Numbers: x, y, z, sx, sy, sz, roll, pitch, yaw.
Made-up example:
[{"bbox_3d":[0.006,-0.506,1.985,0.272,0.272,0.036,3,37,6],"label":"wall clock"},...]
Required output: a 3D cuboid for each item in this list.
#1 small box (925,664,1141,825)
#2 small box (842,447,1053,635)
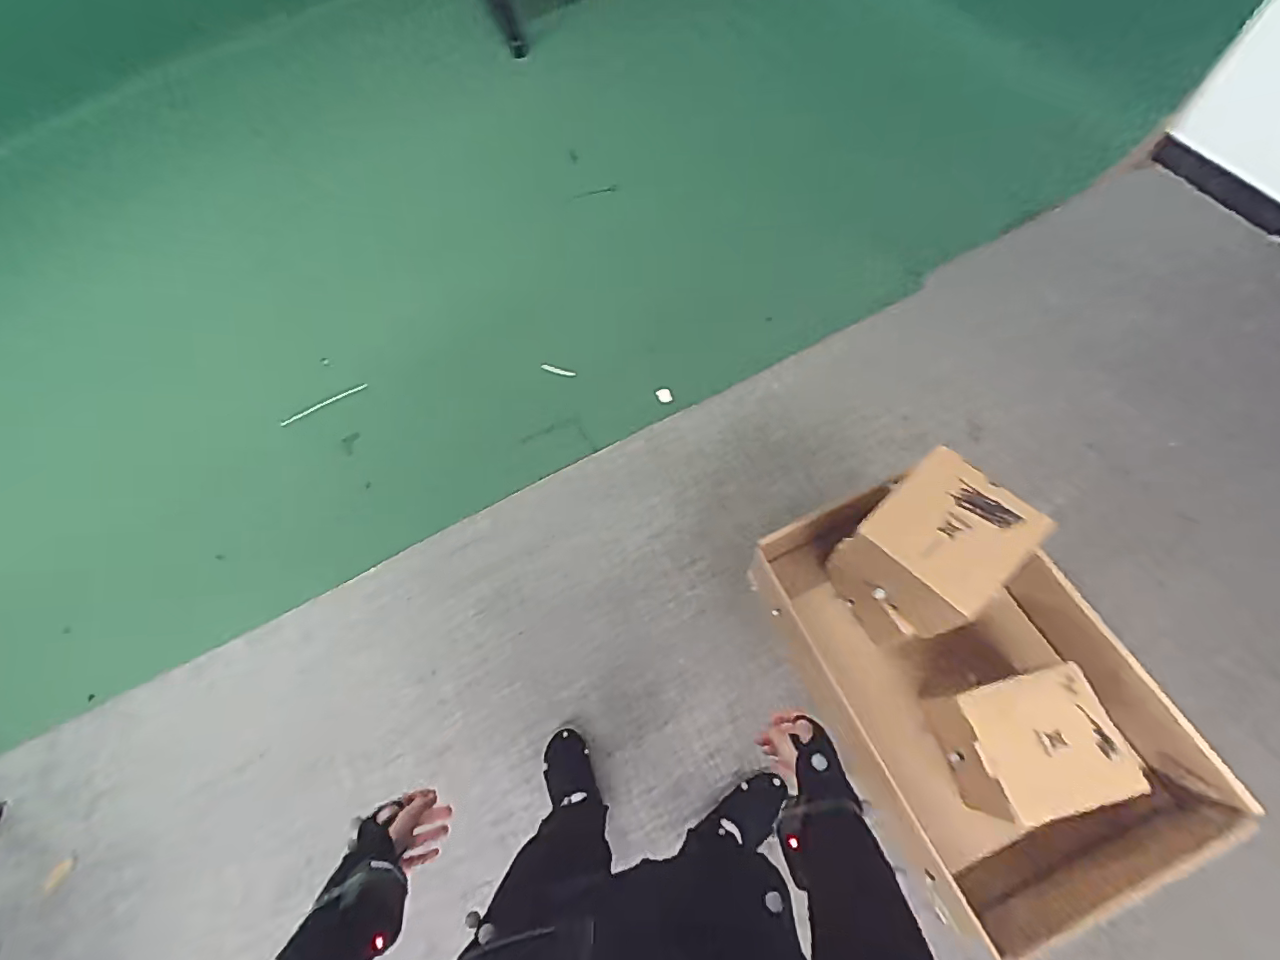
[{"bbox_3d":[0.547,0.382,0.792,0.179,0.176,0.168,-16,65,1],"label":"small box"},{"bbox_3d":[0.411,0.092,0.760,0.179,0.176,0.168,-41,66,-10],"label":"small box"}]
